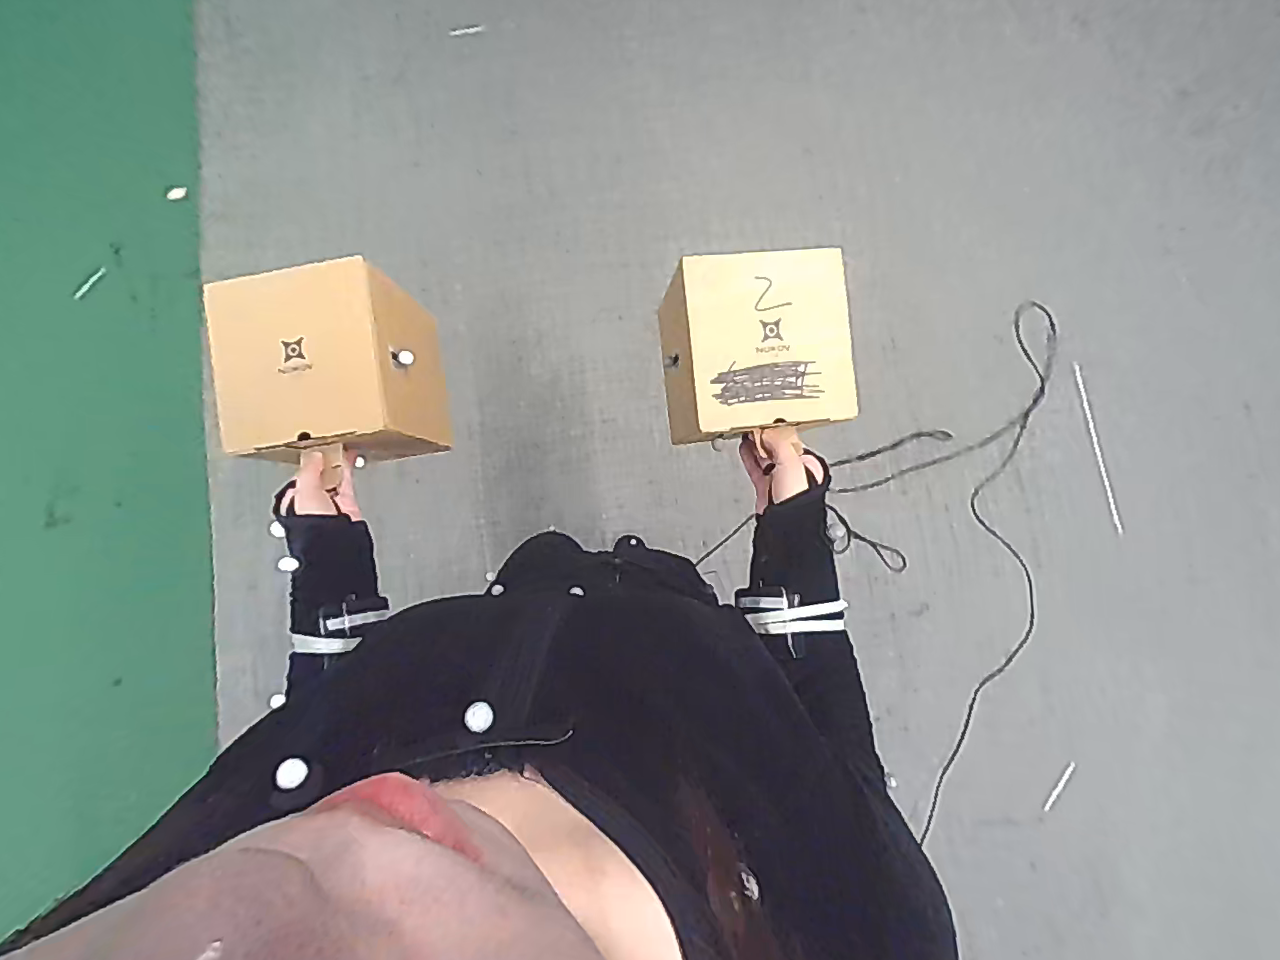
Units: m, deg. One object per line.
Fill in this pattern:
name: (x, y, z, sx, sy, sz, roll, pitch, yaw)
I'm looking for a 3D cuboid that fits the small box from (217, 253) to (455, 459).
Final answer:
small box: (-0.321, -0.124, 0.603, 0.168, 0.176, 0.179, -7, 88, 2)
